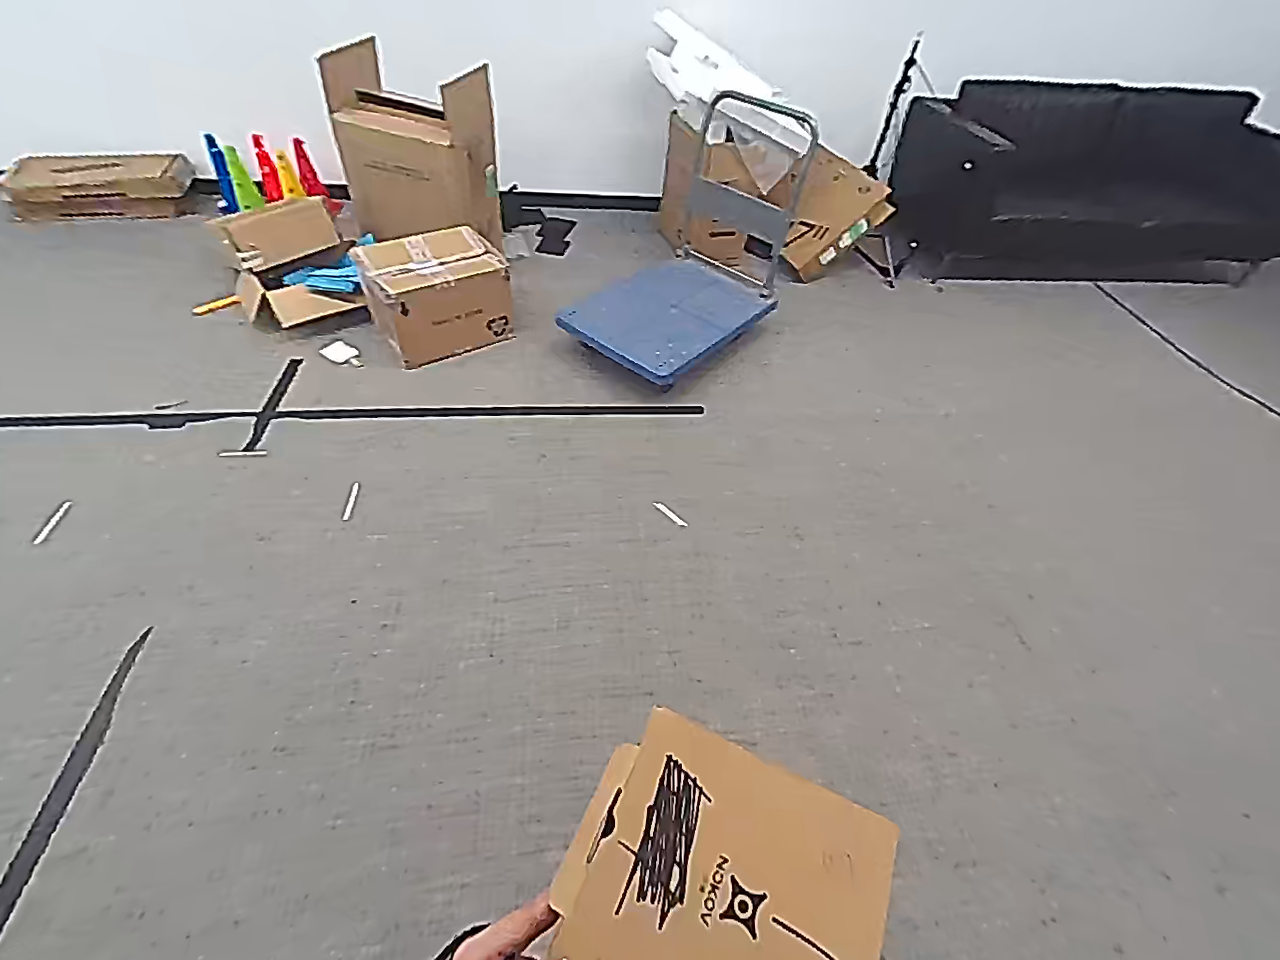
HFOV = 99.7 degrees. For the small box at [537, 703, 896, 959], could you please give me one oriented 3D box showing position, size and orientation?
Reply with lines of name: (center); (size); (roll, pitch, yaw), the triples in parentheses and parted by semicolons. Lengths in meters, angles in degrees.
small box: (0.052, 0.295, 0.385); (0.179, 0.176, 0.168); (21, 54, 14)
